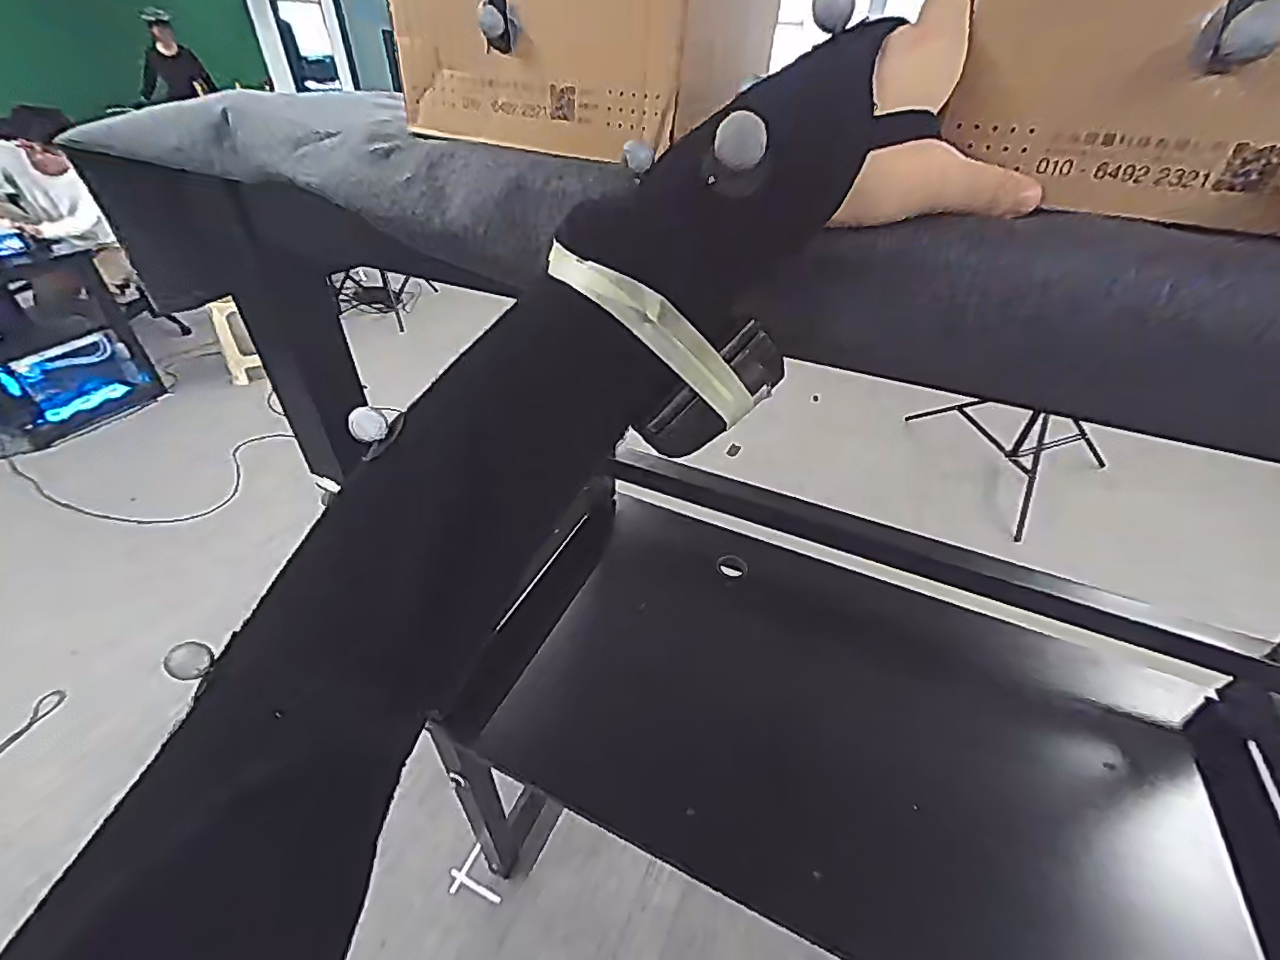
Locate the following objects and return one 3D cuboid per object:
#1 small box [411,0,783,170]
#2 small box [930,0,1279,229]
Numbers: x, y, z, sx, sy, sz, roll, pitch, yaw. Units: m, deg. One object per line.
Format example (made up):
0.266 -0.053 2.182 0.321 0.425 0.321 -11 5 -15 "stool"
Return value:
-0.015 -0.287 0.302 0.168 0.176 0.179 17 40 17 "small box"
0.234 -0.212 0.217 0.168 0.176 0.179 18 39 19 "small box"
